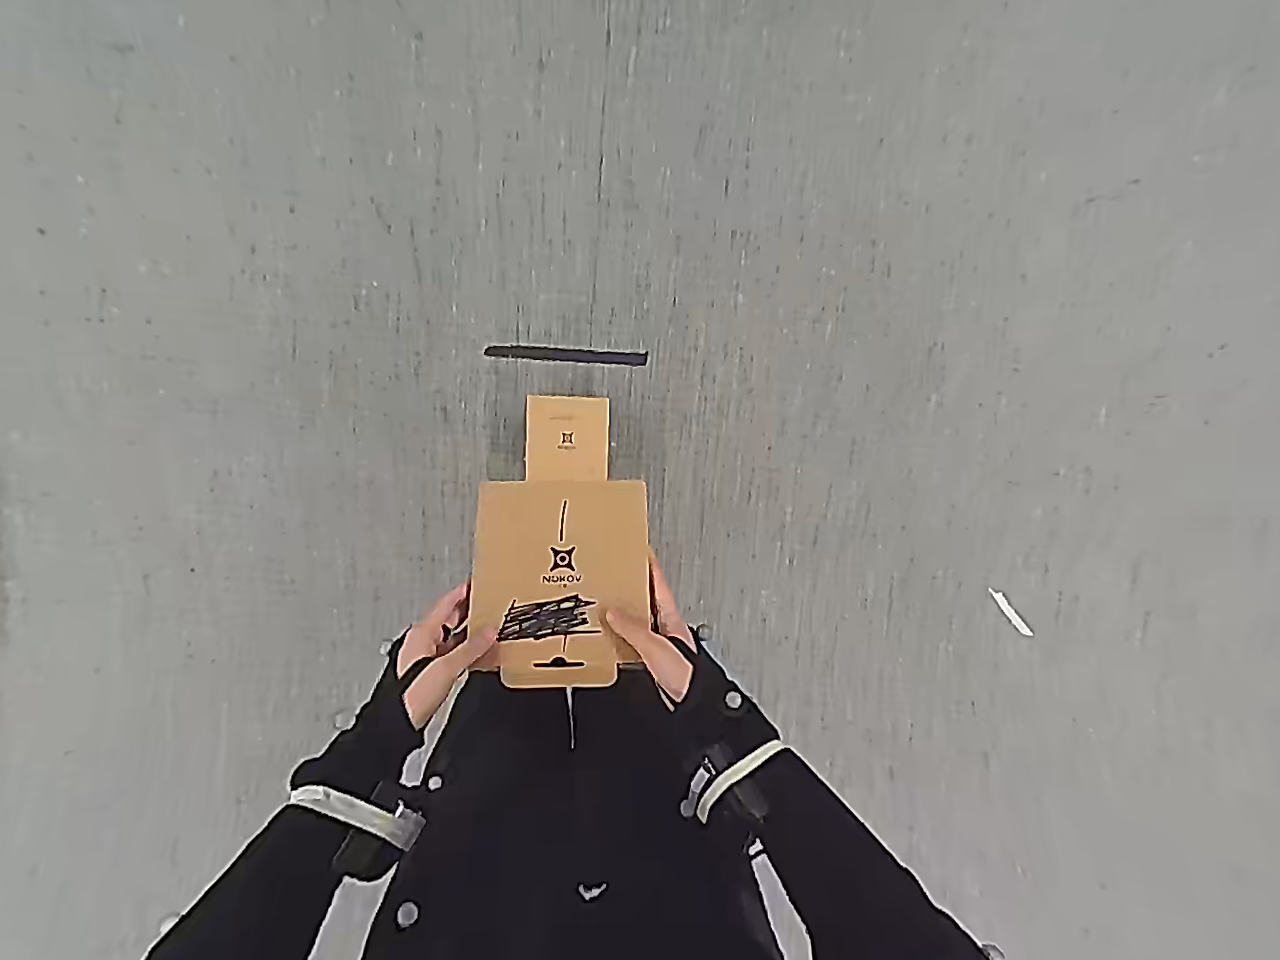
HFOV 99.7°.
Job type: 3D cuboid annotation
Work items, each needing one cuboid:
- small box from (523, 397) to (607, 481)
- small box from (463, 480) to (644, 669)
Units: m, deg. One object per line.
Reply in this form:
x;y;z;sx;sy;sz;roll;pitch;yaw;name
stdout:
-0.156;-0.081;1.160;0.168;0.176;0.179;1;93;-5;small box
-0.079;0.109;0.581;0.168;0.176;0.179;0;70;-2;small box
